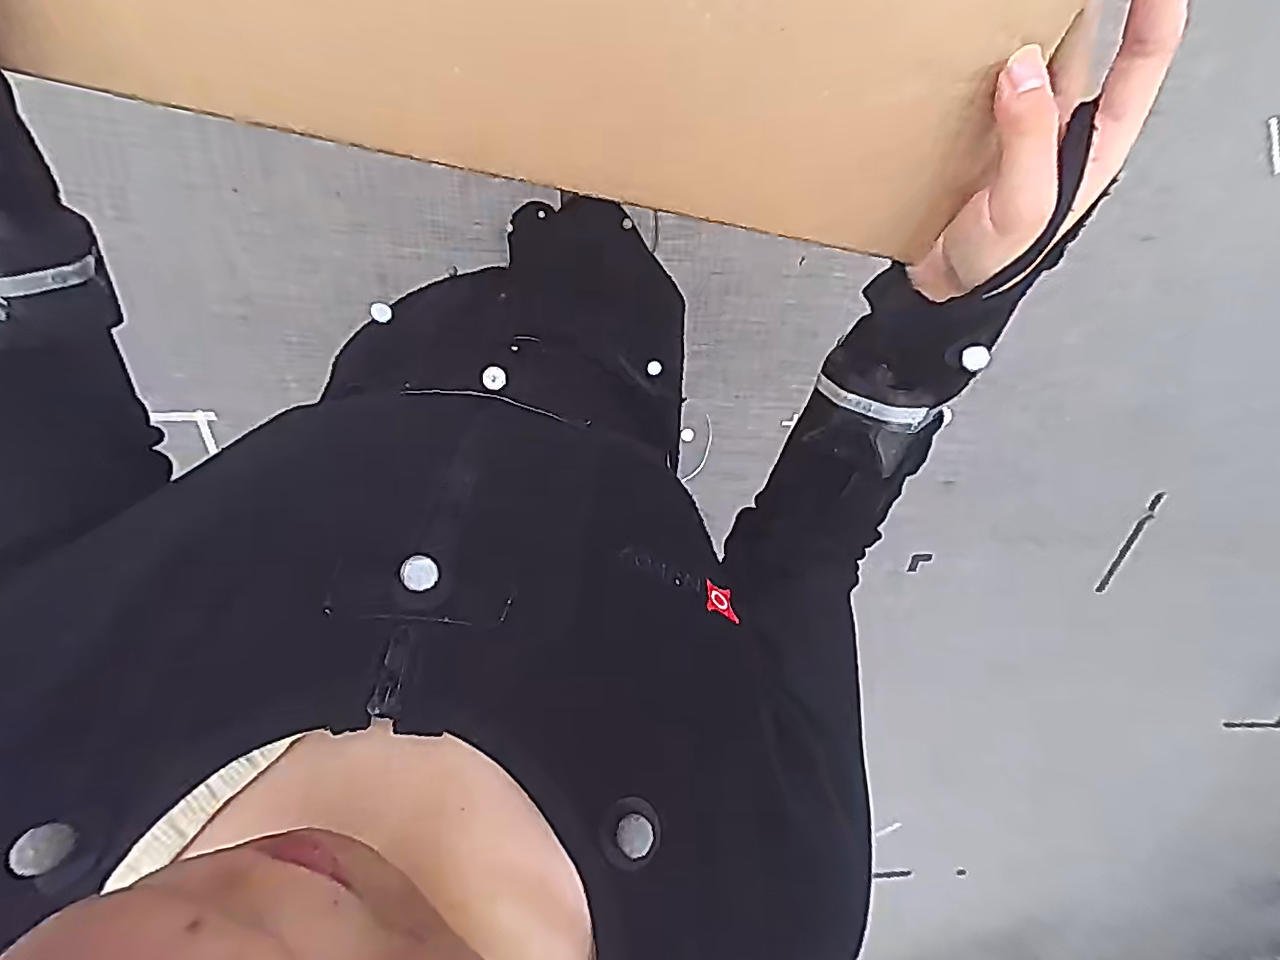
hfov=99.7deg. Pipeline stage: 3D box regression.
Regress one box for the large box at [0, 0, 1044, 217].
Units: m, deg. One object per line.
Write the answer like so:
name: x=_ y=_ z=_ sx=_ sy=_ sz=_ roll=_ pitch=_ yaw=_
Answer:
large box: x=-0.031 y=-0.361 z=0.235 sx=0.408 sy=0.320 sz=0.320 roll=7 pitch=136 yaw=-11
